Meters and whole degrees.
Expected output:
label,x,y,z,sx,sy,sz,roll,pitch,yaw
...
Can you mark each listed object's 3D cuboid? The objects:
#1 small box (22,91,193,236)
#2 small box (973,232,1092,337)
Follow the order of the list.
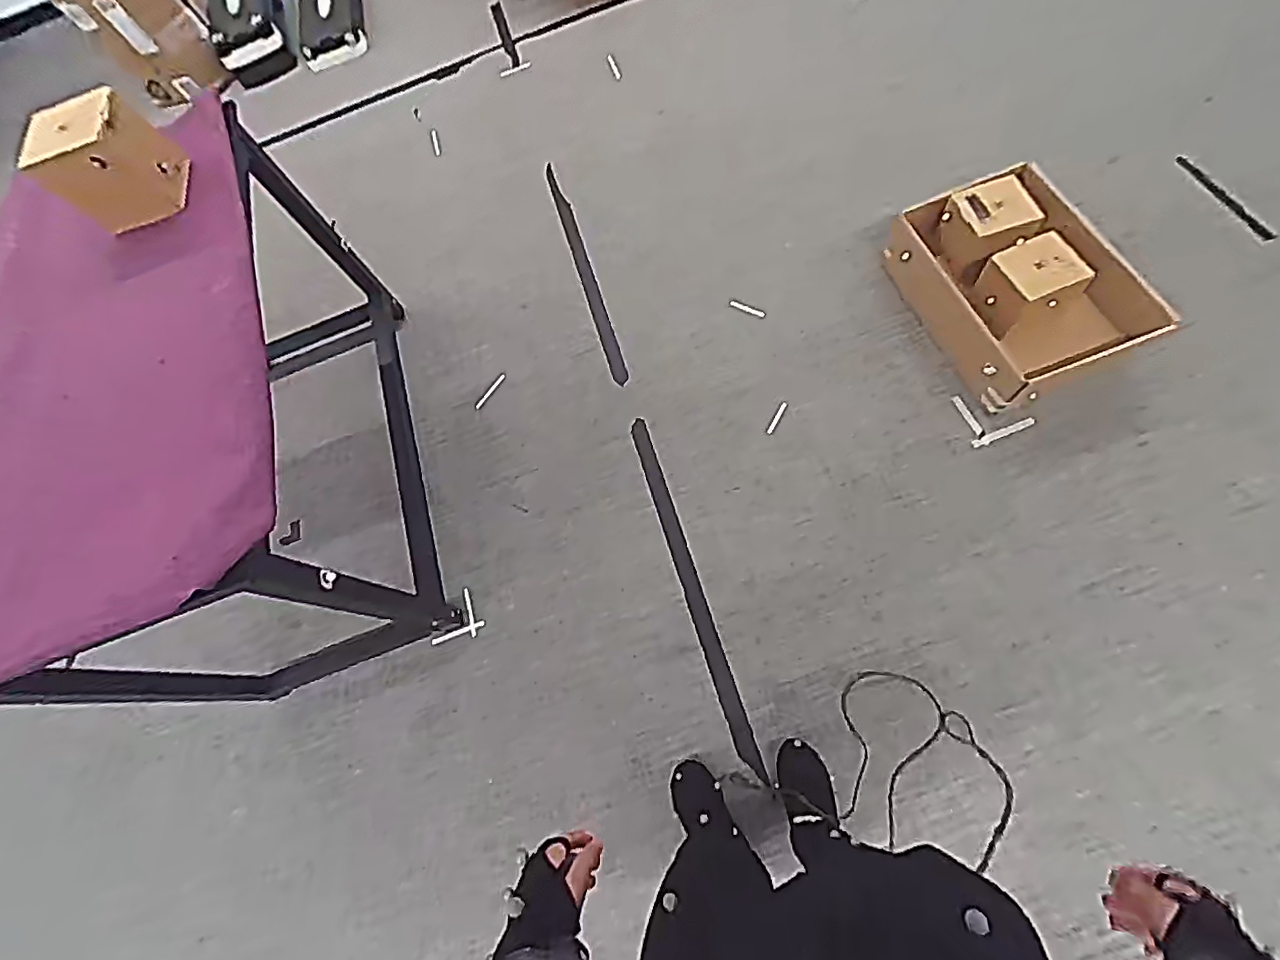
label,x,y,z,sx,sy,sz,roll,pitch,yaw
small box,-1.077,-0.638,1.108,0.179,0.176,0.168,-17,67,4
small box,1.022,-0.510,1.434,0.179,0.176,0.168,-22,67,2
